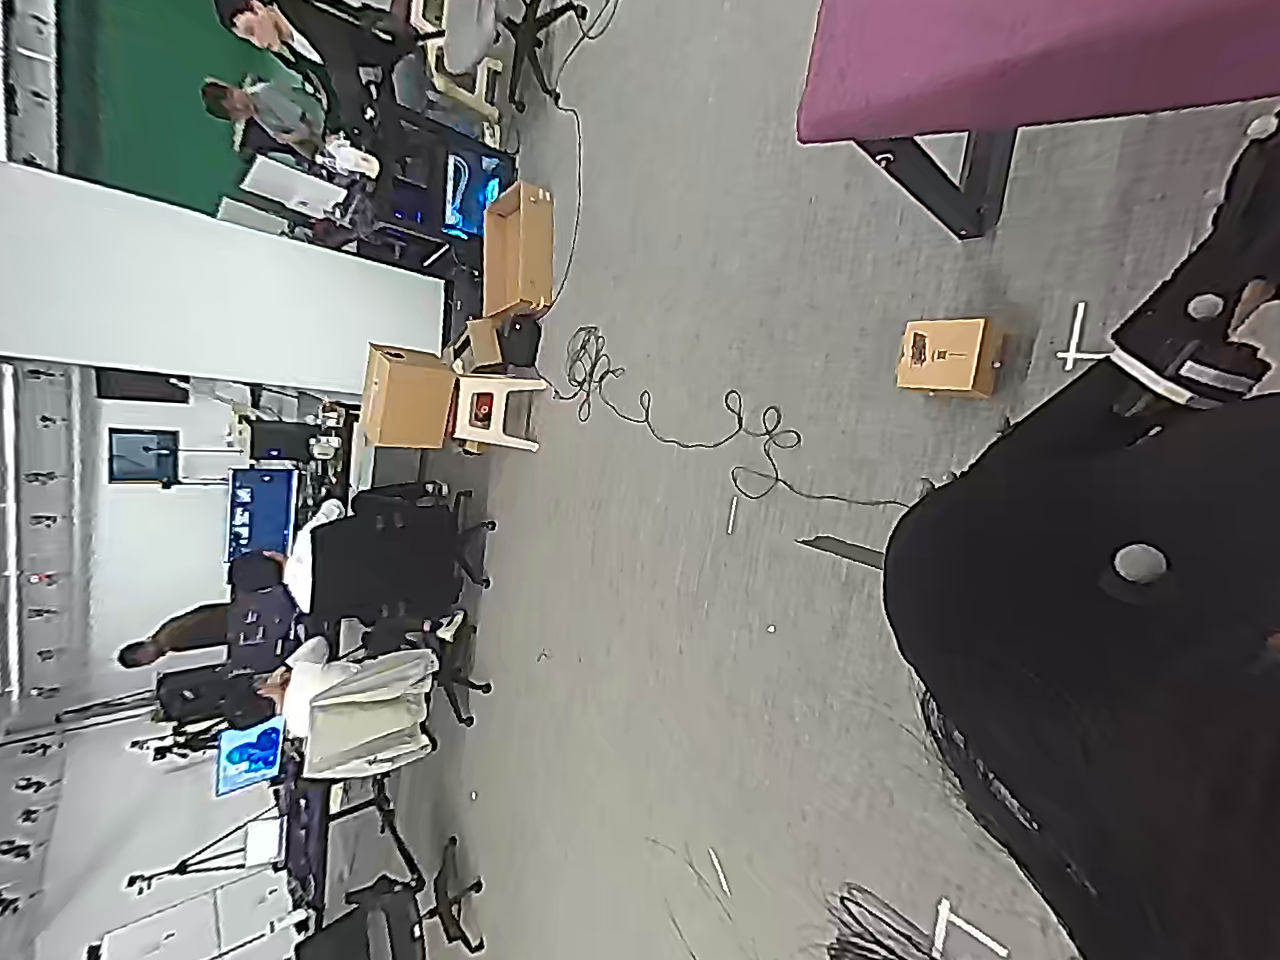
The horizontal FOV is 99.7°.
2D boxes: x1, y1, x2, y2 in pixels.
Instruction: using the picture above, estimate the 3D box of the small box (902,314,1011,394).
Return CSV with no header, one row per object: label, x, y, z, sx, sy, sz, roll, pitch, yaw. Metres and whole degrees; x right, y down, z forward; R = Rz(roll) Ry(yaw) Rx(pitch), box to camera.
small box,0.781,-0.305,1.335,0.179,0.176,0.168,13,100,46
